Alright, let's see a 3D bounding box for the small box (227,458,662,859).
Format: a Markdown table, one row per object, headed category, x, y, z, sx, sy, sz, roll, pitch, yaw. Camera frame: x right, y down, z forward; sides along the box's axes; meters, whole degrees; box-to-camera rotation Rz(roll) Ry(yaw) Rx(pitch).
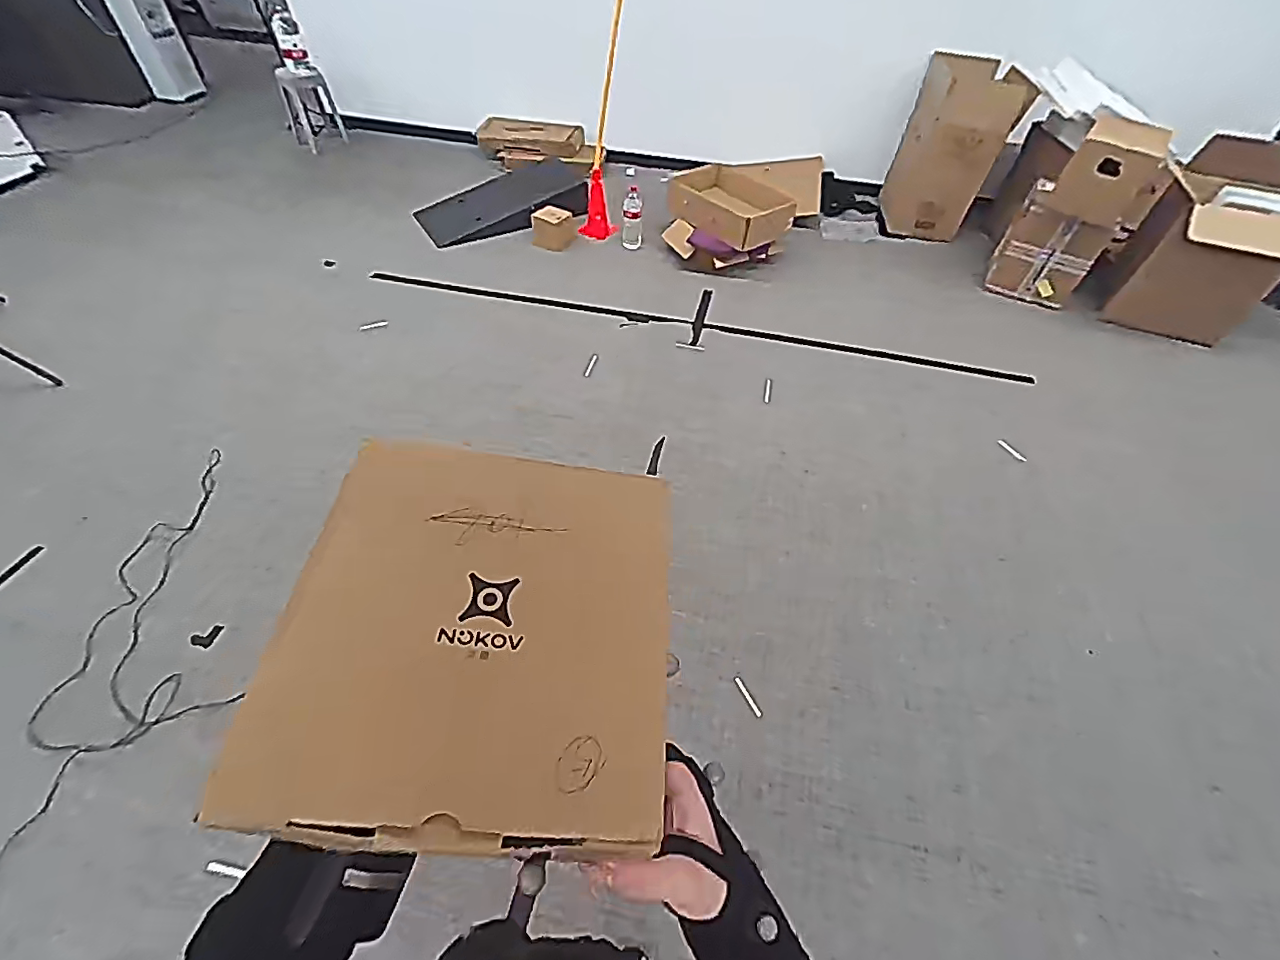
| category | x | y | z | sx | sy | sz | roll | pitch | yaw |
| --- | --- | --- | --- | --- | --- | --- | --- | --- | --- |
| small box | -0.083 | 0.113 | 0.318 | 0.168 | 0.176 | 0.179 | 7 | 52 | -8 |
